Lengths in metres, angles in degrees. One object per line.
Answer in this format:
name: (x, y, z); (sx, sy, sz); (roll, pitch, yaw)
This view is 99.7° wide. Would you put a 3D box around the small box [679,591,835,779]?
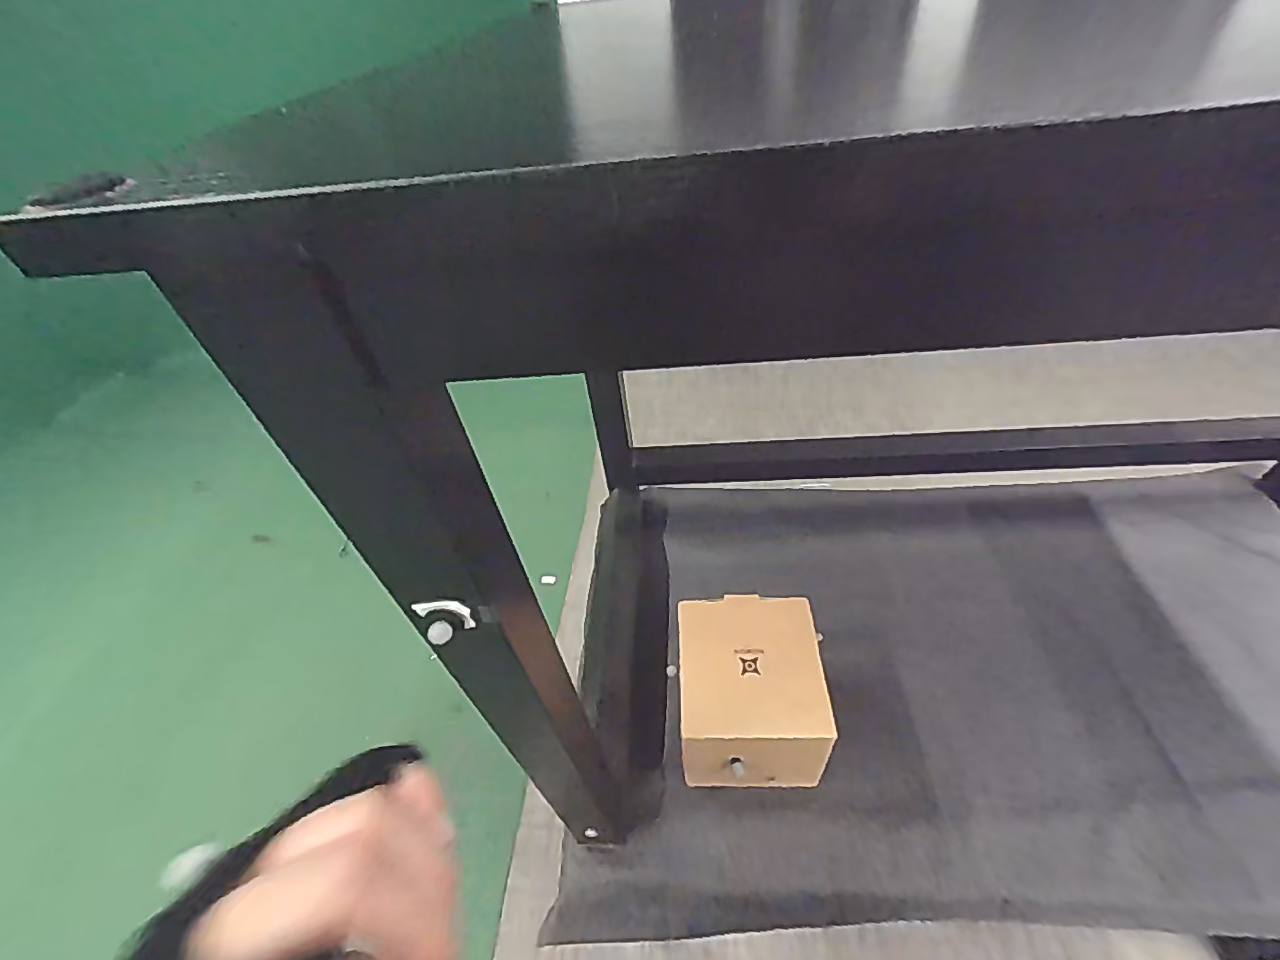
small box: (0.138, 0.263, 0.687); (0.168, 0.176, 0.179); (-3, 44, 5)
